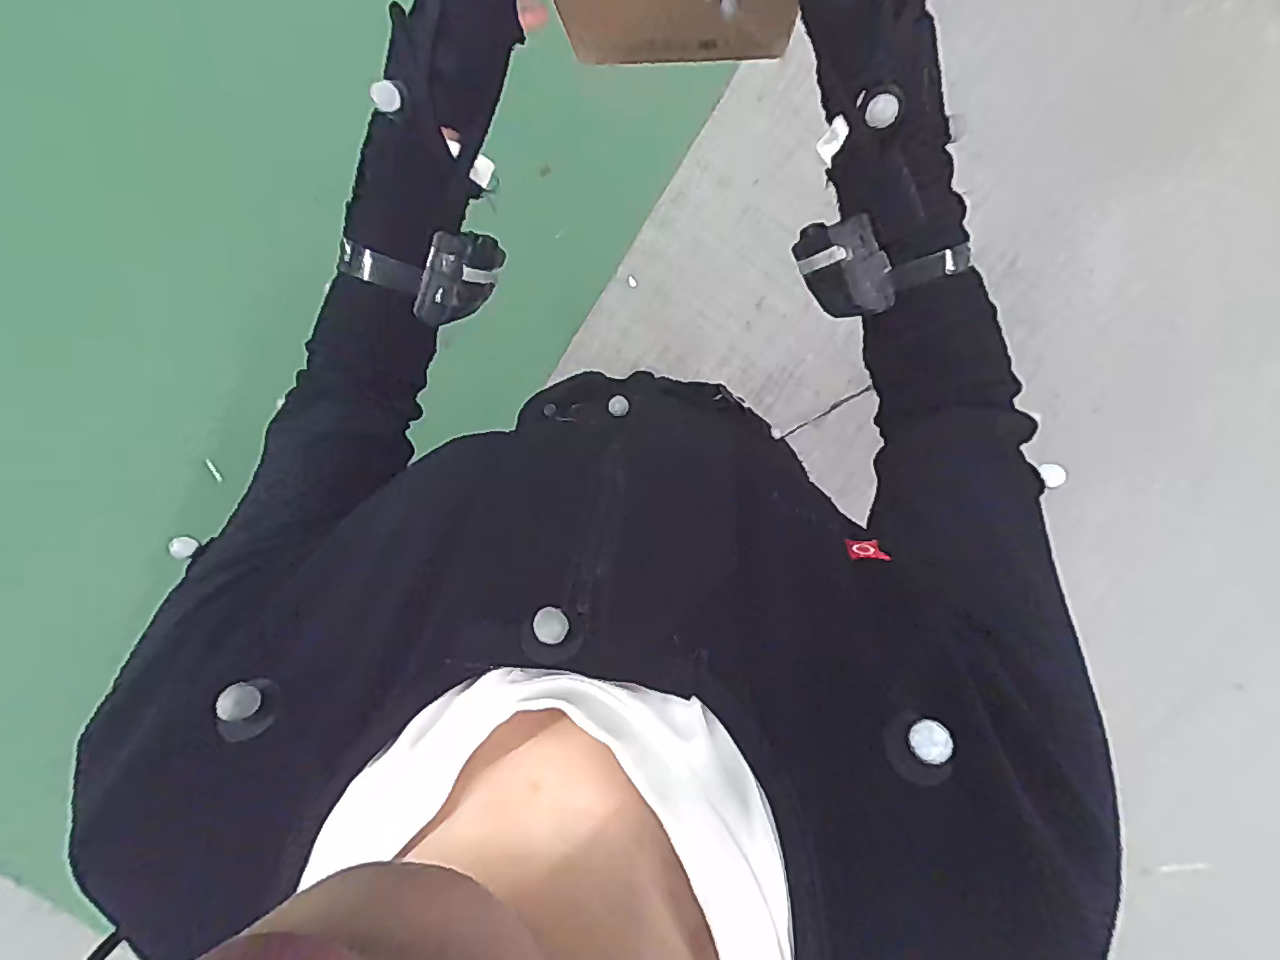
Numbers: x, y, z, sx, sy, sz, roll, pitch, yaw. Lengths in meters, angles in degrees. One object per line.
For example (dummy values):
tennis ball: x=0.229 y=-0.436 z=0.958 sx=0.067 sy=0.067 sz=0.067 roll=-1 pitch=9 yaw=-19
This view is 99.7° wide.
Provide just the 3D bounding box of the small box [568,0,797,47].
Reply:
small box: x=0.028 y=-0.402 z=0.330 sx=0.168 sy=0.176 sz=0.179 roll=3 pitch=103 yaw=5
